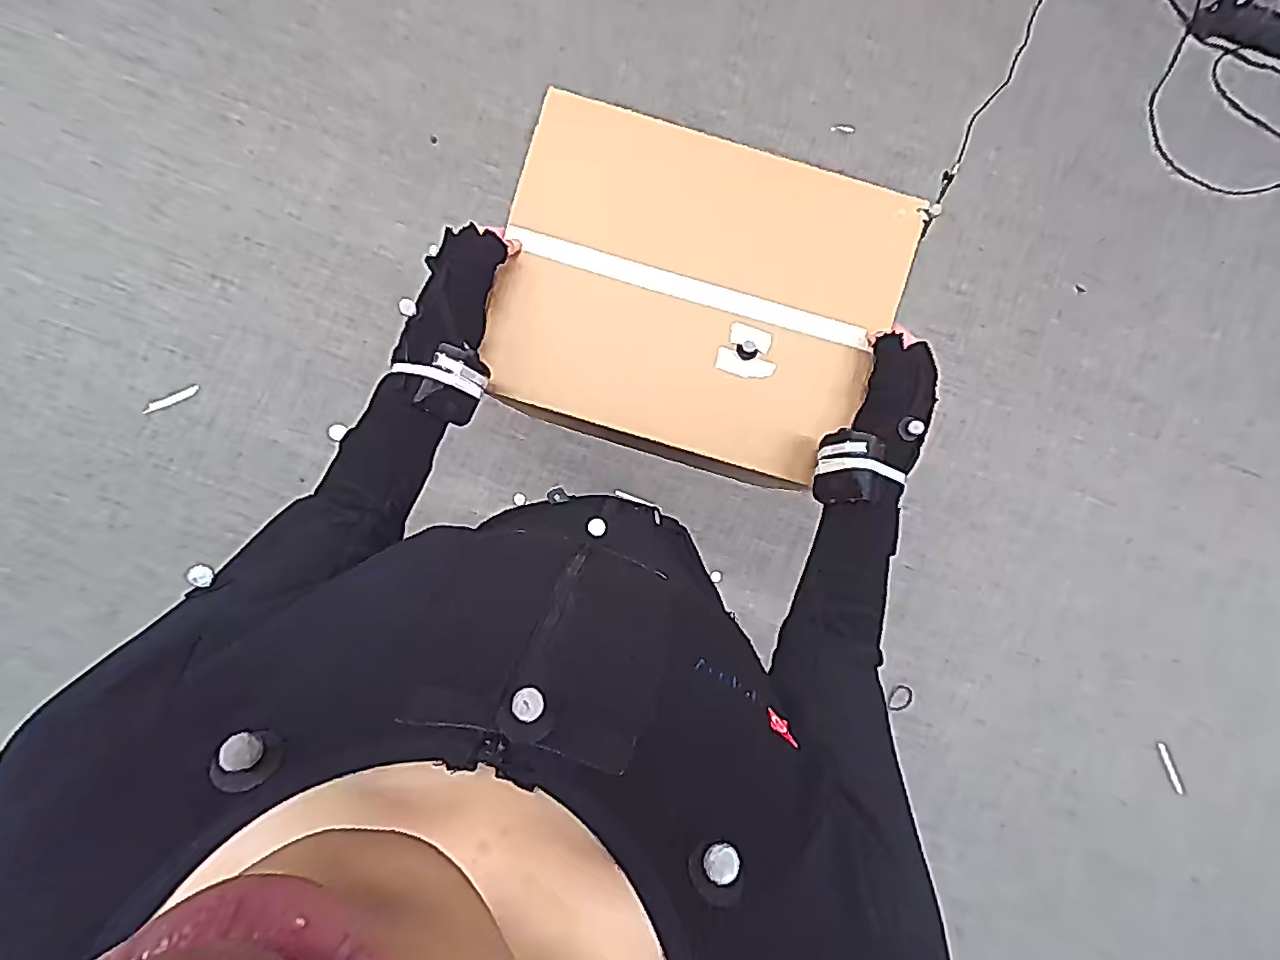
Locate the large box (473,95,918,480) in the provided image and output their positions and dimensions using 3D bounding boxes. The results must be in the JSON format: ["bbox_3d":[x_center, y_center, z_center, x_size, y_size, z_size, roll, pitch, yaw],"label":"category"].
[{"bbox_3d":[0.054,-0.198,0.702,0.408,0.320,0.320,16,91,-1],"label":"large box"}]

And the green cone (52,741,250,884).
[{"bbox_3d":[-1.150,0.796,1.261,0.202,0.368,0.200,-17,86,0],"label":"green cone"}]
